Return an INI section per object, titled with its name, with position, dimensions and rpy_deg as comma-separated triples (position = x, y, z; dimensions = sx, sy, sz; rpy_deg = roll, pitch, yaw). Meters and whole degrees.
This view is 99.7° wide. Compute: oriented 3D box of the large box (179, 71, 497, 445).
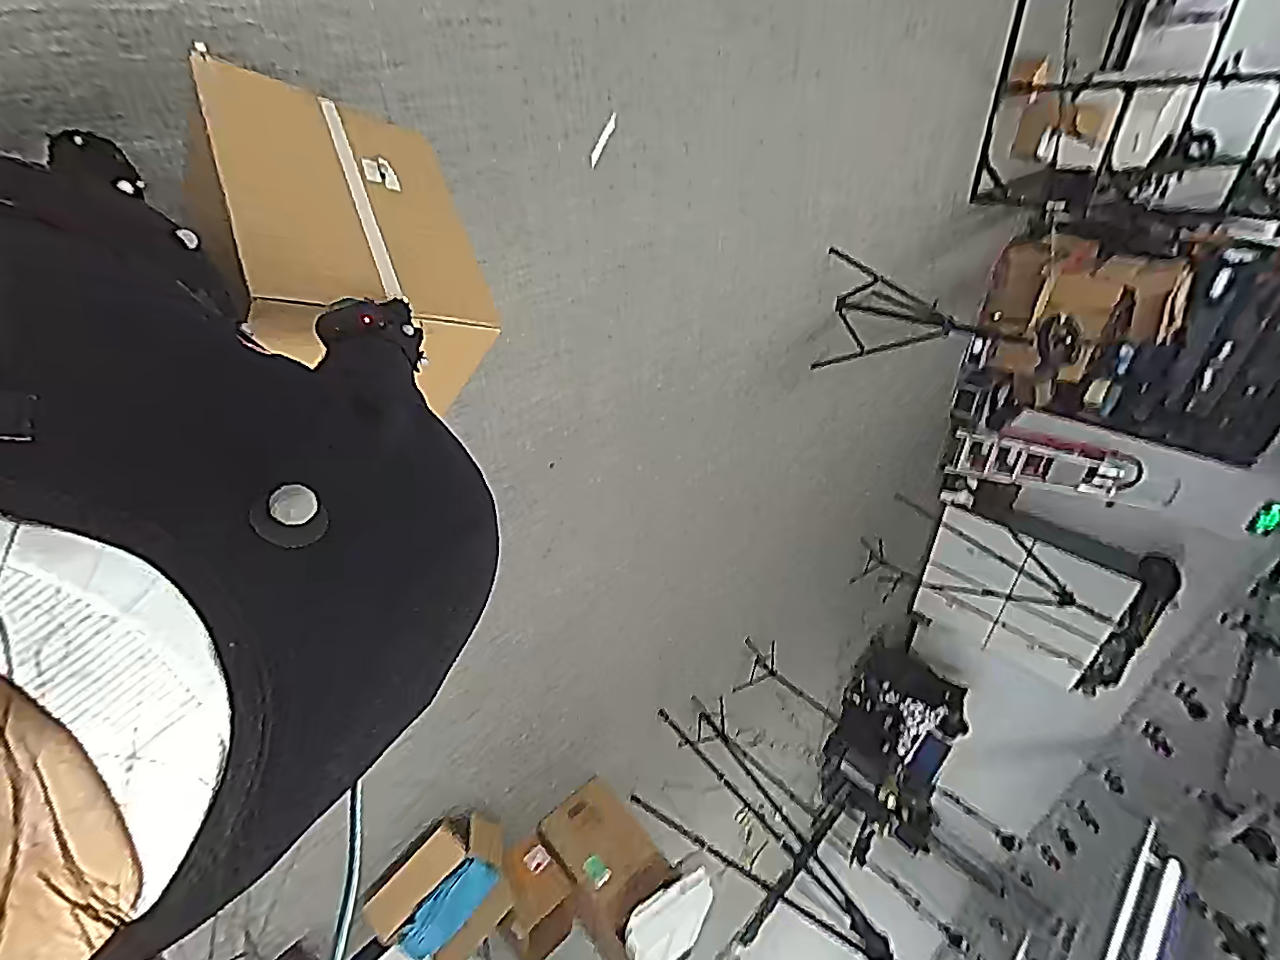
[large box]
position = -0.490, -0.309, 0.856
dimensions = 0.320, 0.408, 0.320
rpy_deg = -8, 156, -47
